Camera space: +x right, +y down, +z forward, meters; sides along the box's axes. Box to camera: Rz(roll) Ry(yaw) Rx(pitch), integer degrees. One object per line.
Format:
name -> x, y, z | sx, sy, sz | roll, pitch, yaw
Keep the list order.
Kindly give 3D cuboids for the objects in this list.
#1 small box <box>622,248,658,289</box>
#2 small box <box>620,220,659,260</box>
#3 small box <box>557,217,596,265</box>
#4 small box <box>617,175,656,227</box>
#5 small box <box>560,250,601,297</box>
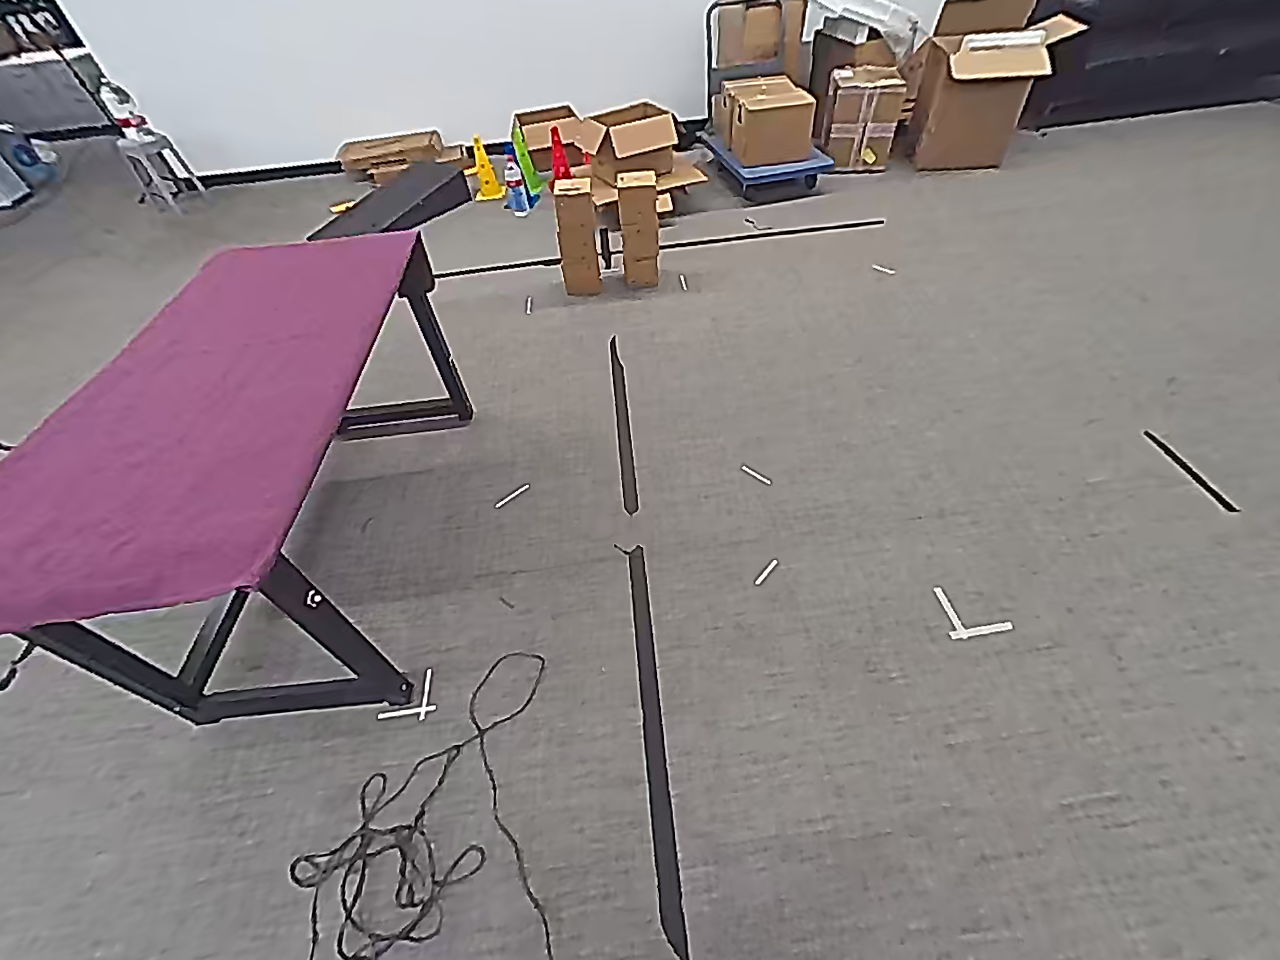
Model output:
small box -> -0.001, -1.100, 2.781 | 0.168, 0.176, 0.179 | -7, 48, -2
small box -> -0.004, -1.196, 2.646 | 0.179, 0.176, 0.168 | -5, 49, -1
small box -> -0.307, -1.168, 2.651 | 0.168, 0.176, 0.179 | -2, 47, 0
small box -> -0.013, -1.302, 2.521 | 0.179, 0.176, 0.168 | -2, 49, 1
small box -> -0.301, -1.054, 2.767 | 0.179, 0.176, 0.168 | -2, 48, 2
